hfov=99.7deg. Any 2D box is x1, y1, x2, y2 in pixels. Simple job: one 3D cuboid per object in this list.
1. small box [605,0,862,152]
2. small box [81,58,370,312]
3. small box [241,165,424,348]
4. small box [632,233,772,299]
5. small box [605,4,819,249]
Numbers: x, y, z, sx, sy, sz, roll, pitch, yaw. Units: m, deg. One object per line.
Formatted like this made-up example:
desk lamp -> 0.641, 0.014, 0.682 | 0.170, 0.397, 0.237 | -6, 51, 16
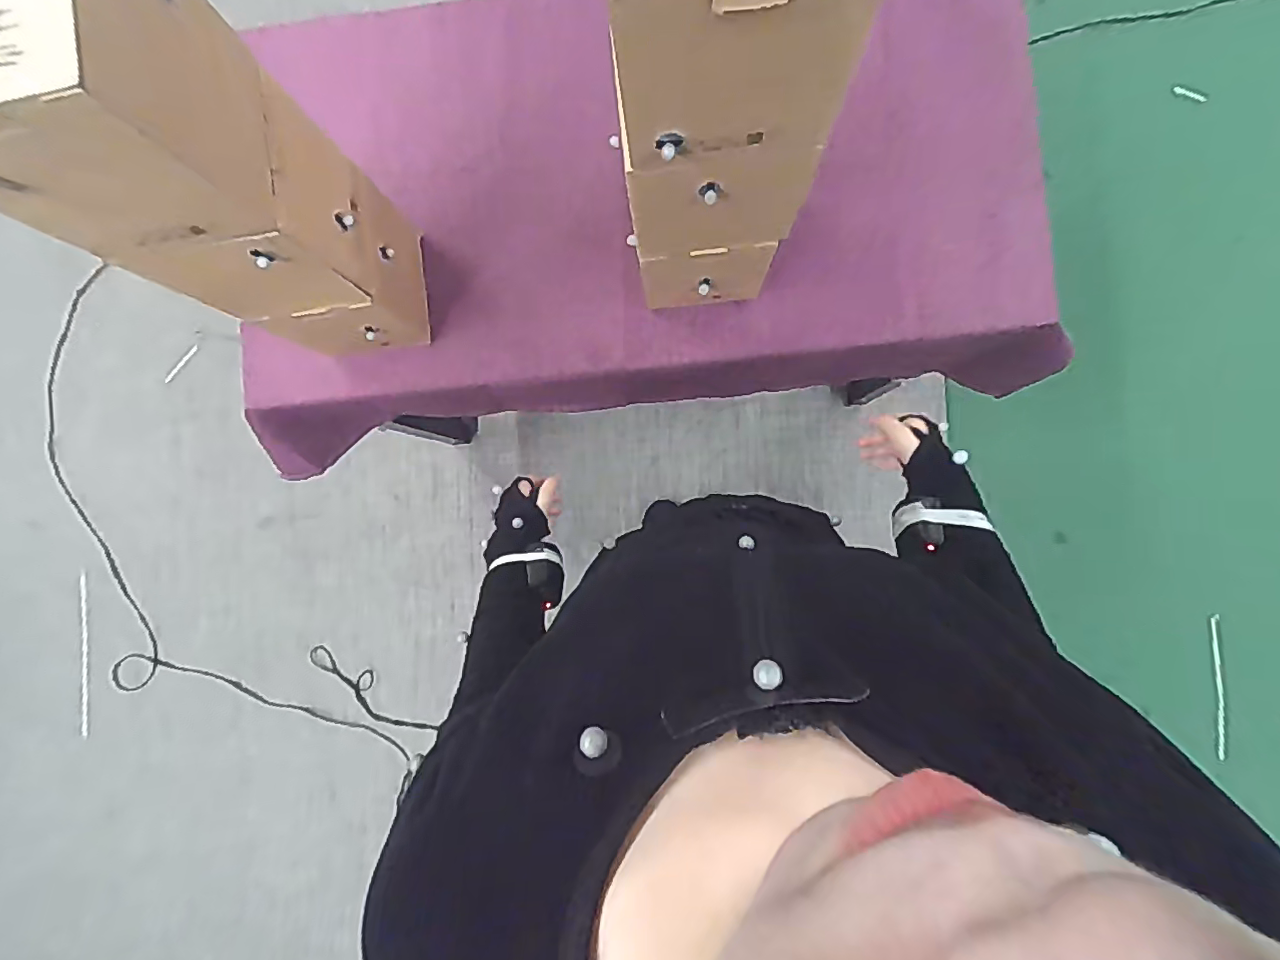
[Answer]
small box -> 0.058, -0.367, 0.388 | 0.168, 0.176, 0.179 | -6, 86, 3
small box -> -0.425, -0.295, 0.580 | 0.179, 0.176, 0.168 | -9, 88, 1
small box -> -0.412, -0.289, 0.741 | 0.168, 0.176, 0.179 | -7, 87, 2
small box -> 0.073, -0.352, 0.717 | 0.168, 0.176, 0.179 | -5, 88, 3
small box -> 0.067, -0.356, 0.552 | 0.179, 0.176, 0.168 | -6, 88, 3
